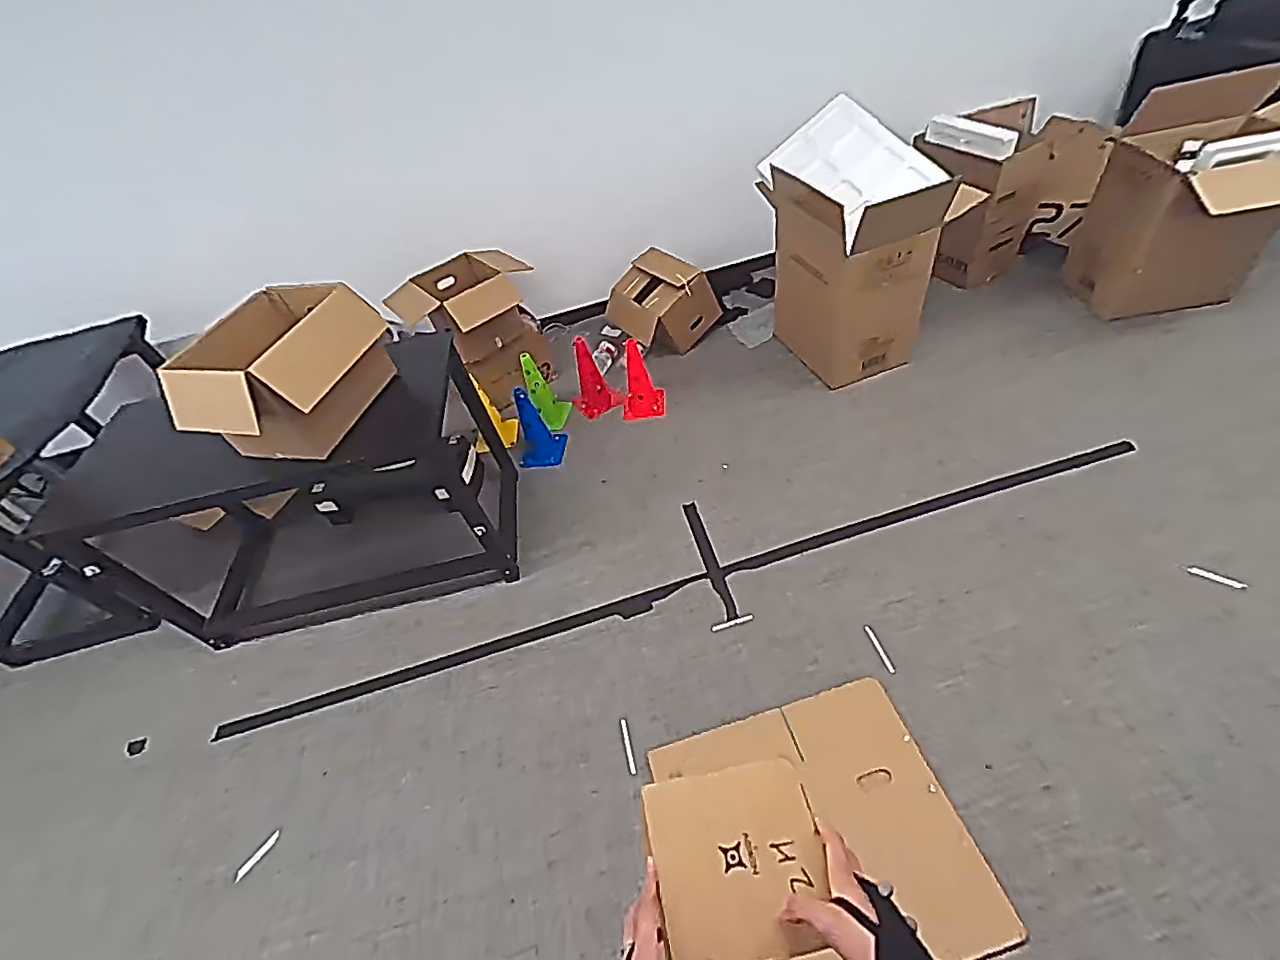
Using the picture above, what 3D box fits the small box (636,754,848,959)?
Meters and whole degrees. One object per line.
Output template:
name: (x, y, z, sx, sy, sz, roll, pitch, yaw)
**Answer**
small box: (0.094, 0.431, 0.600, 0.179, 0.176, 0.168, -7, 48, -9)
